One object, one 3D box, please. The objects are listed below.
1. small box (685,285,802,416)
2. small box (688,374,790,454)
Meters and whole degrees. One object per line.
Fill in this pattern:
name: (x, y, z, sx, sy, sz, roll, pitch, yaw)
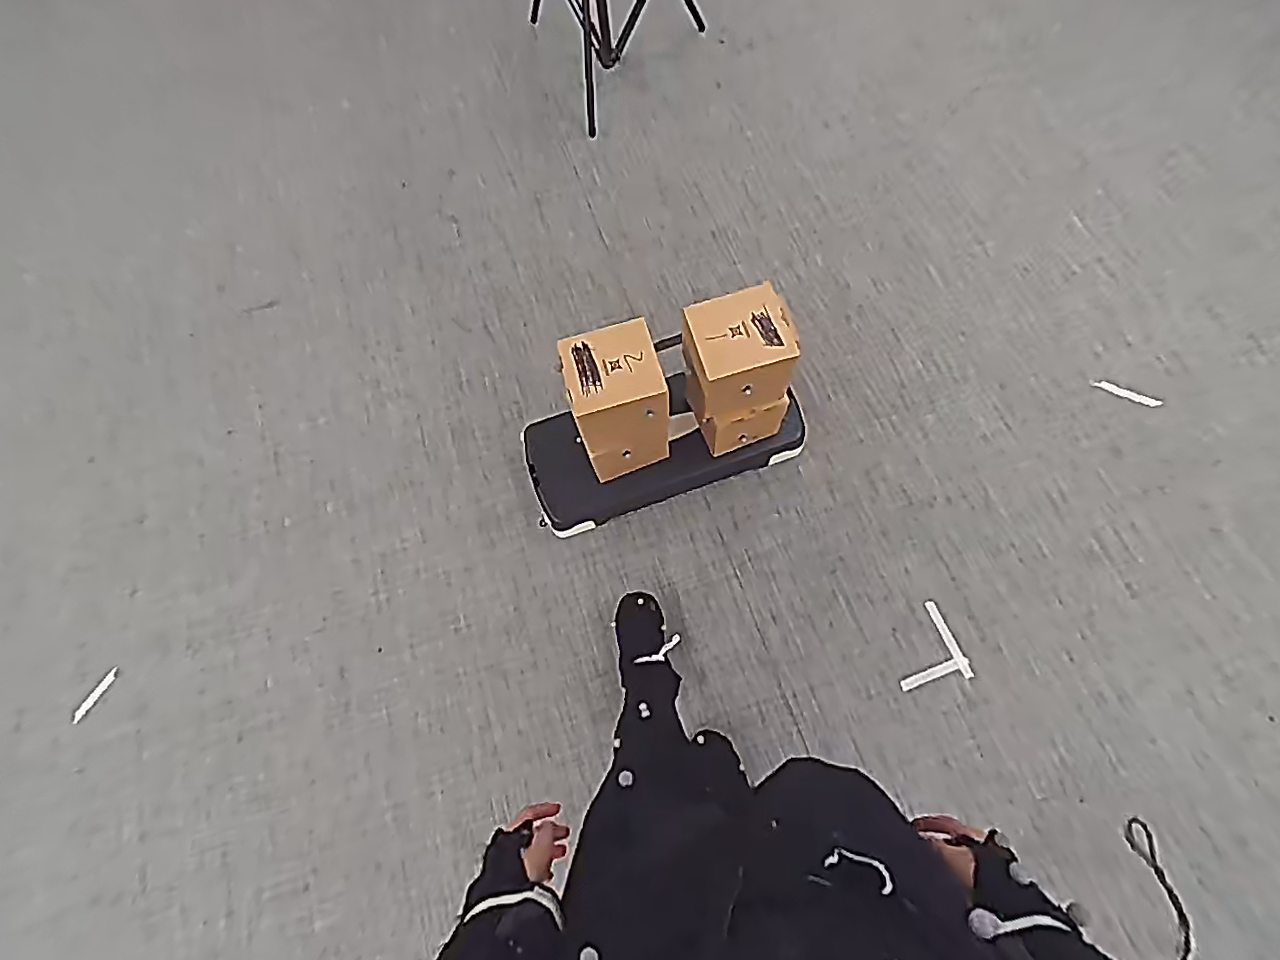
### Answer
small box: (0.193, -0.247, 1.066, 0.179, 0.176, 0.168, -16, 72, -1)
small box: (0.212, -0.184, 1.218, 0.168, 0.176, 0.179, -21, 72, -3)
